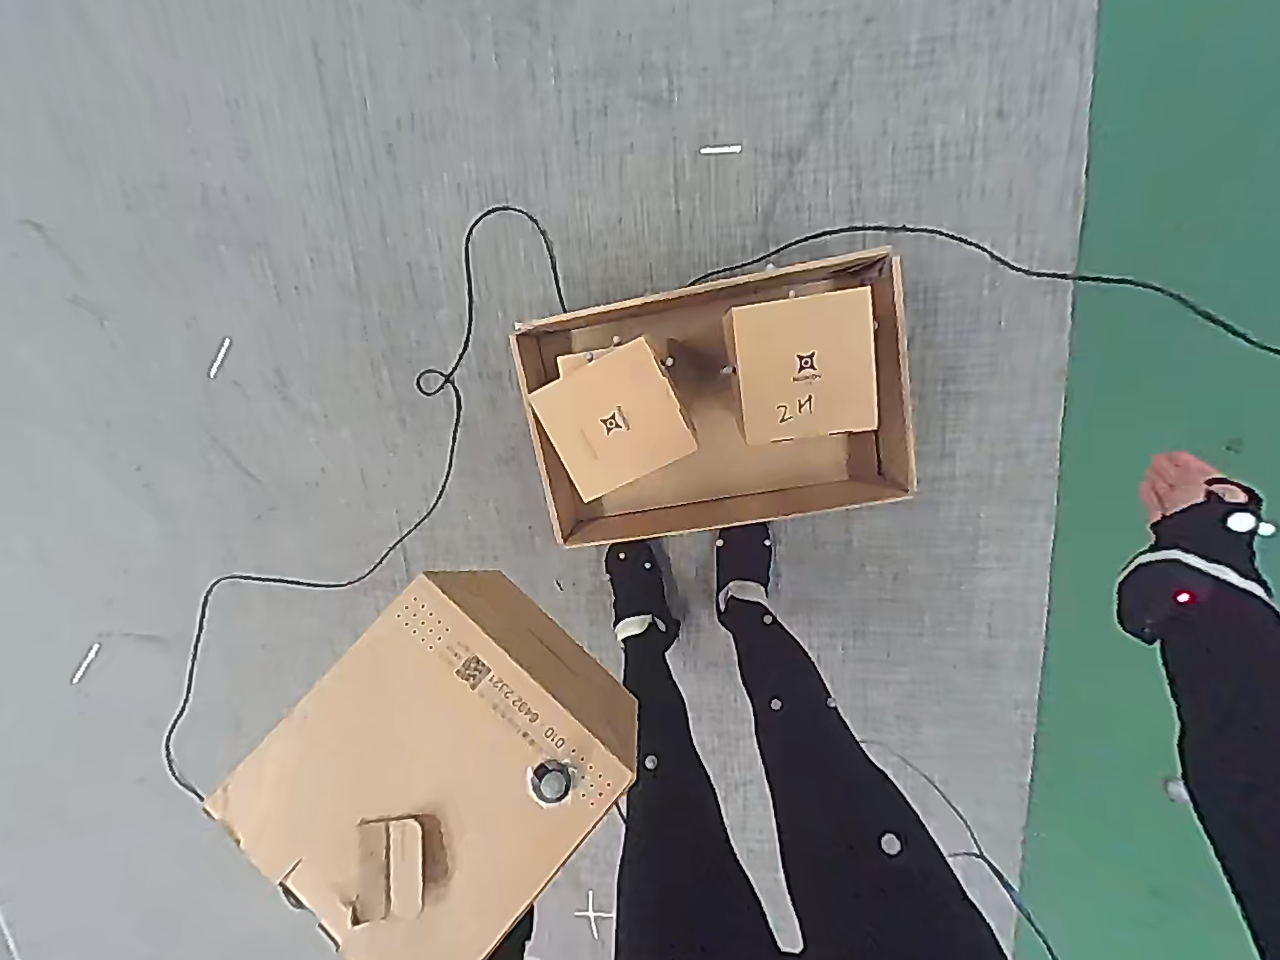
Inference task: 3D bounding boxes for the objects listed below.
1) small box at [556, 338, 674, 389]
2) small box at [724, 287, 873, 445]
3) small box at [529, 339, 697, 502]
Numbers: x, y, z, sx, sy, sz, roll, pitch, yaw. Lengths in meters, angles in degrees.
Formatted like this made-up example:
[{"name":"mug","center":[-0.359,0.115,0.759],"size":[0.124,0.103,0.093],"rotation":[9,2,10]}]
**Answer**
[{"name":"small box","center":[-0.030,-0.148,0.941],"size":[0.179,0.176,0.168],"rotation":[-9,103,6]},{"name":"small box","center":[0.208,-0.155,0.745],"size":[0.168,0.176,0.179],"rotation":[-7,103,8]},{"name":"small box","center":[-0.032,-0.095,0.786],"size":[0.179,0.176,0.168],"rotation":[-25,101,10]}]
